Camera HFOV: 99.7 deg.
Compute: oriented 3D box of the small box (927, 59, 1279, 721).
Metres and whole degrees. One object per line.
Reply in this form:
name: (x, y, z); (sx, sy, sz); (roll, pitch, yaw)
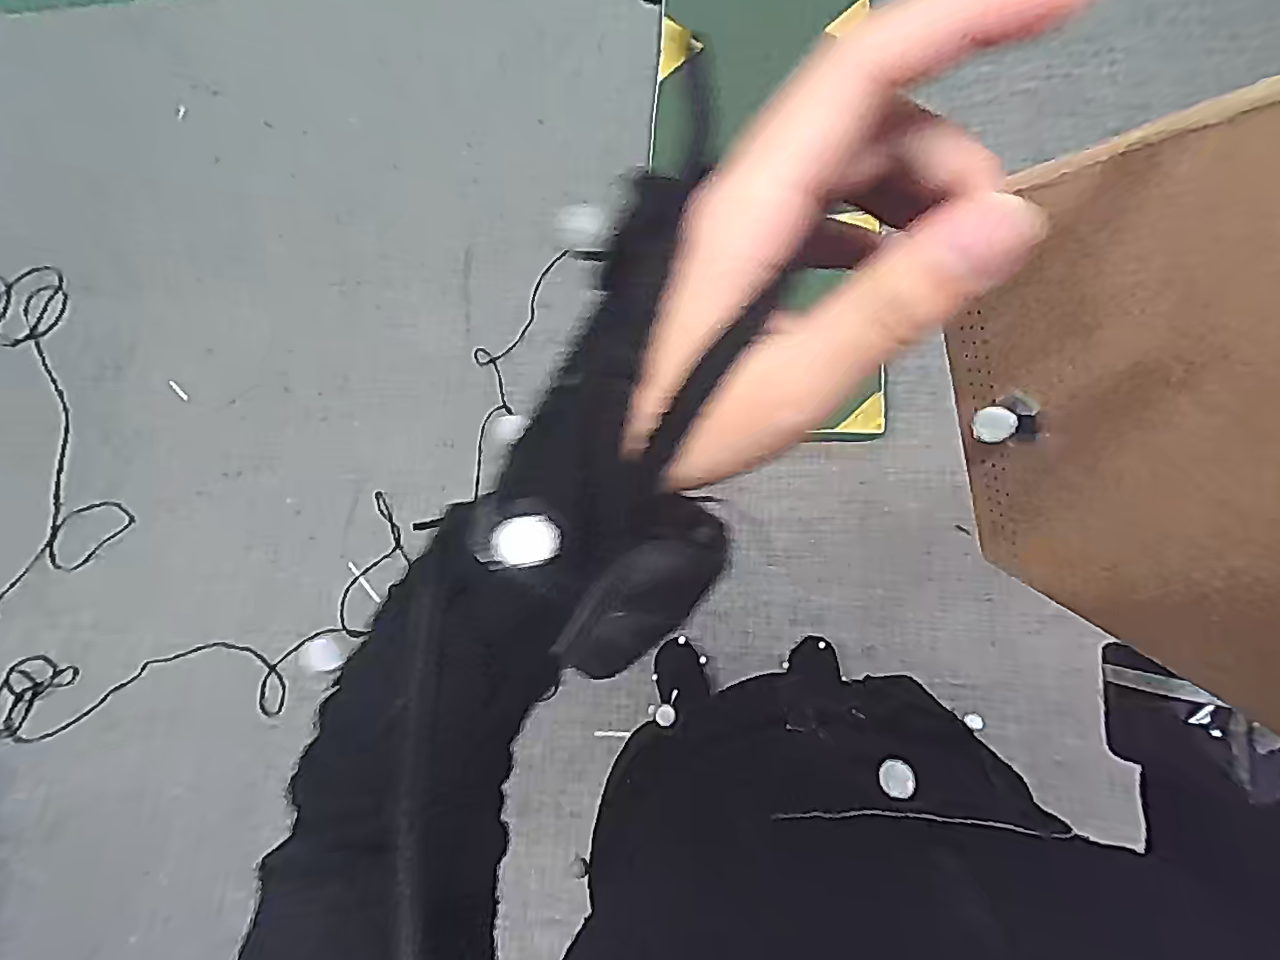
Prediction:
small box: (0.230, -0.047, 0.179); (0.168, 0.176, 0.179); (-21, 107, 0)
